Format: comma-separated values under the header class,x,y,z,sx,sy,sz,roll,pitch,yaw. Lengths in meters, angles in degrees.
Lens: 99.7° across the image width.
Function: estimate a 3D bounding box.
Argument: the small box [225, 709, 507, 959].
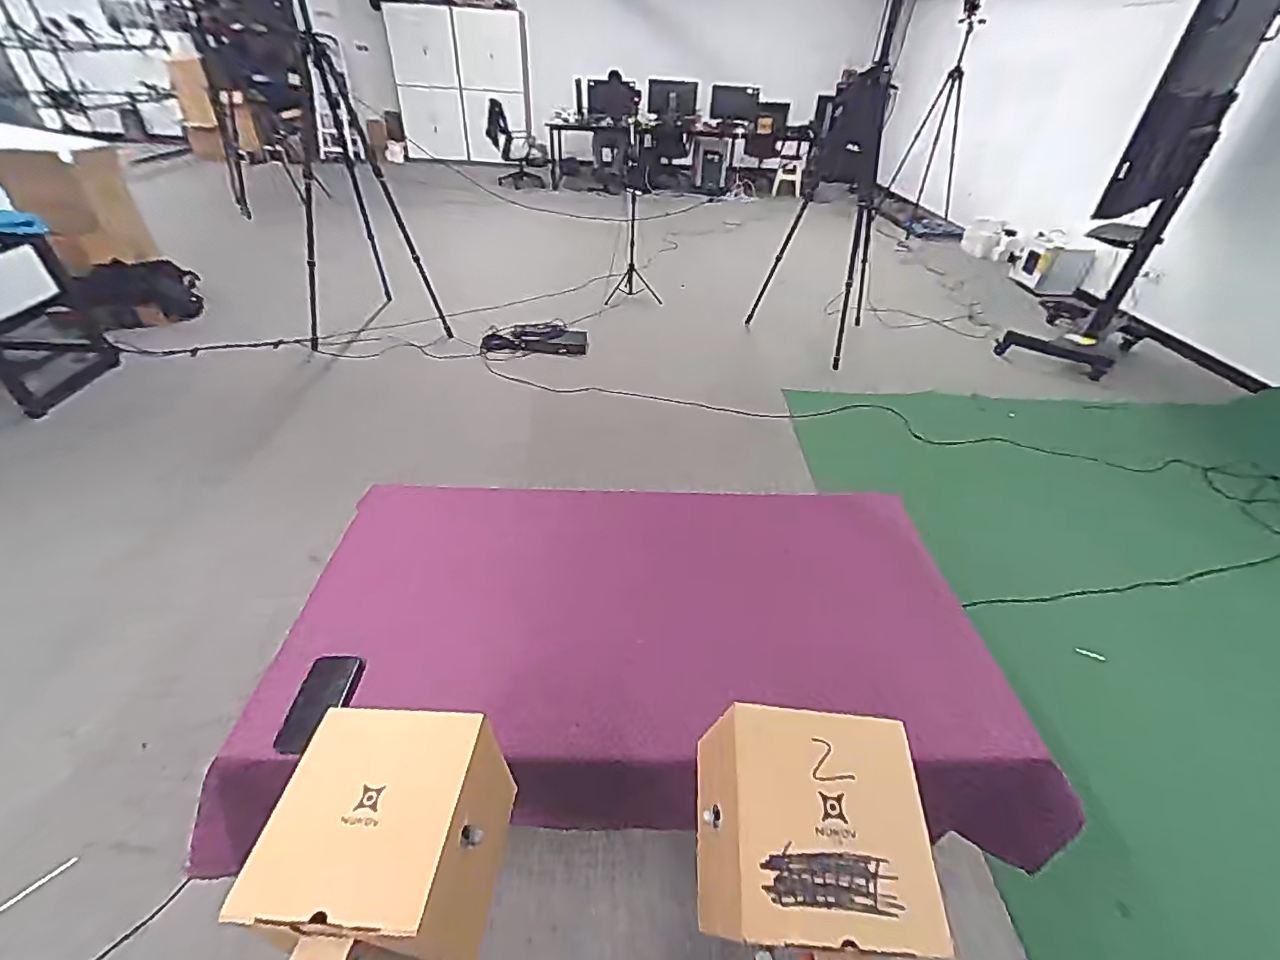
class,x,y,z,sx,sy,sz,roll,pitch,yaw
small box,-0.241,0.356,0.537,0.168,0.176,0.179,0,40,5
